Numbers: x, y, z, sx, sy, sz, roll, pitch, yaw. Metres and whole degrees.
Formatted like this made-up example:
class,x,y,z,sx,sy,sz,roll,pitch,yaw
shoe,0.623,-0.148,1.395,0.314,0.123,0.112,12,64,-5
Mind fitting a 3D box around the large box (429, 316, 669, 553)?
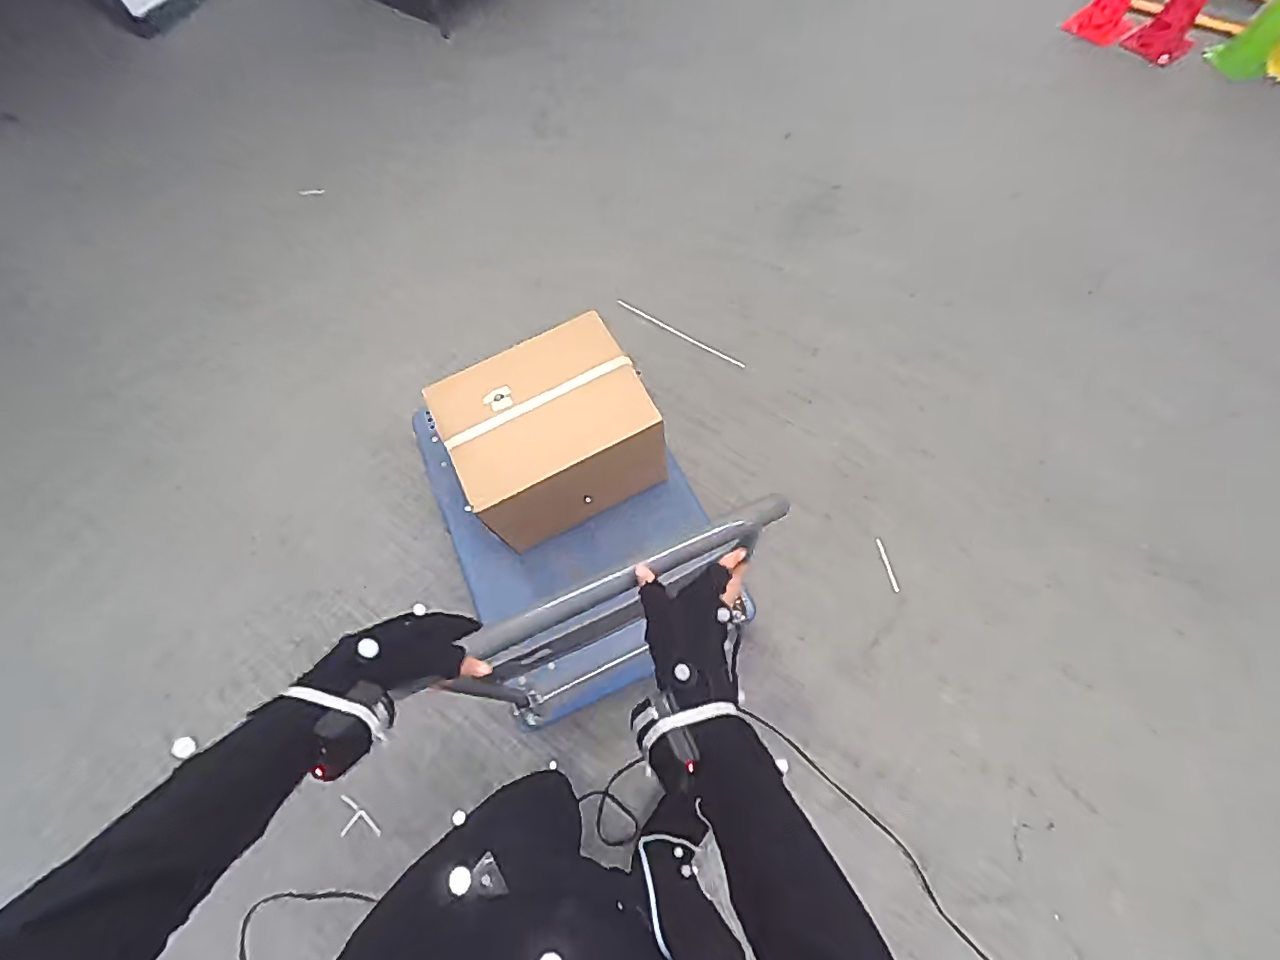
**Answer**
class,x,y,z,sx,sy,sz,roll,pitch,yaw
large box,-0.183,-0.089,1.228,0.408,0.320,0.320,-28,68,-6
